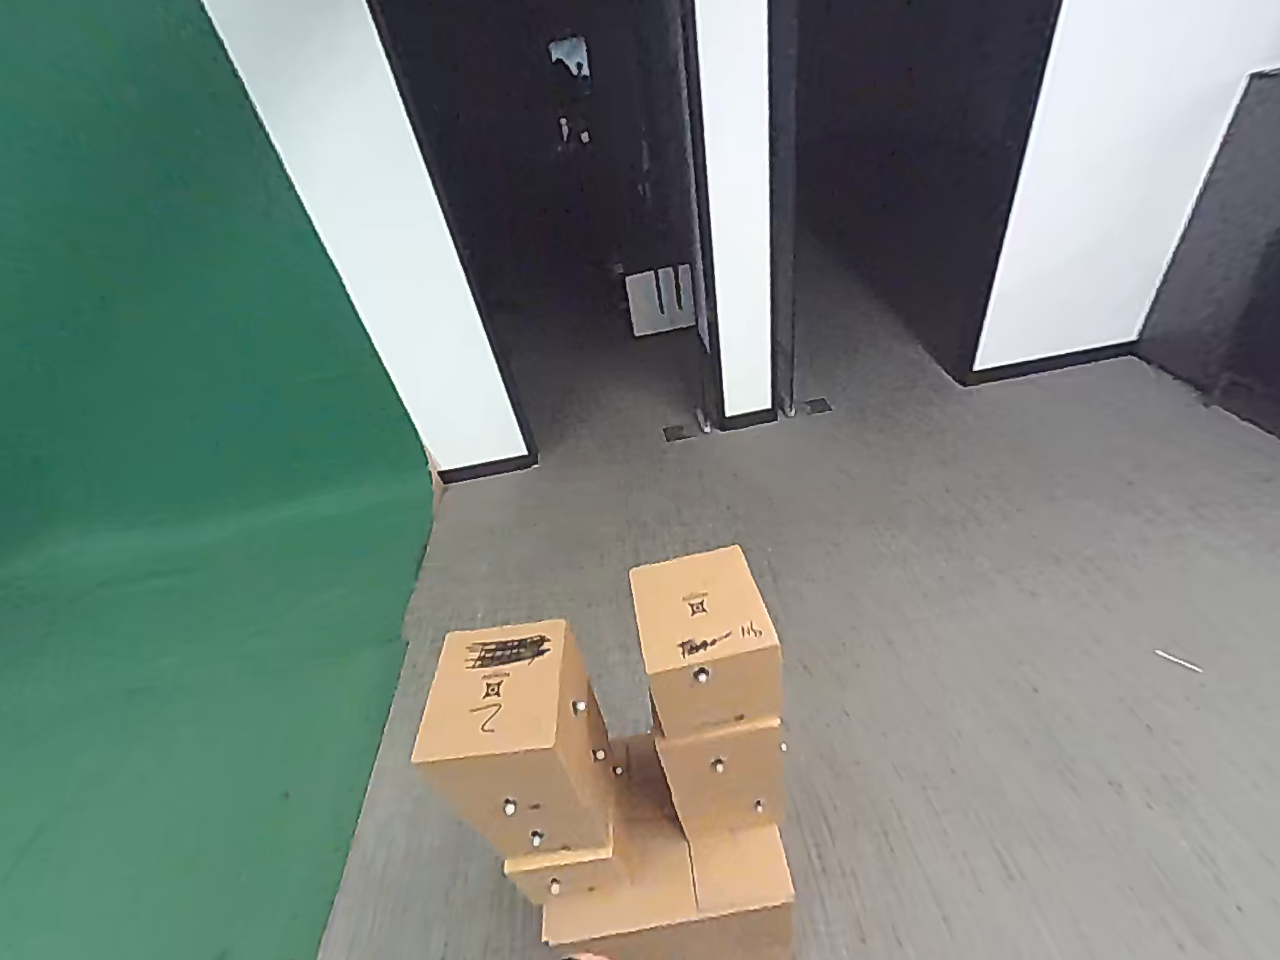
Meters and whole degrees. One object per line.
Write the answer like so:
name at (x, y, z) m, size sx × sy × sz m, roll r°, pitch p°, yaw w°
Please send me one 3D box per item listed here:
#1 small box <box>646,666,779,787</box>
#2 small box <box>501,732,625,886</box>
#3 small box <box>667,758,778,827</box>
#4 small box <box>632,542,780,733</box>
small box at (0.110, 0.353, 0.848) m, size 0.179 × 0.176 × 0.168 m, roll -11°, pitch 38°, yaw 3°
small box at (-0.120, 0.559, 0.913) m, size 0.168 × 0.176 × 0.179 m, roll -9°, pitch 38°, yaw 2°
small box at (0.135, 0.479, 0.950) m, size 0.179 × 0.176 × 0.168 m, roll -12°, pitch 38°, yaw 2°
small box at (0.089, 0.218, 0.756) m, size 0.168 × 0.176 × 0.179 m, roll -12°, pitch 38°, yaw 1°
